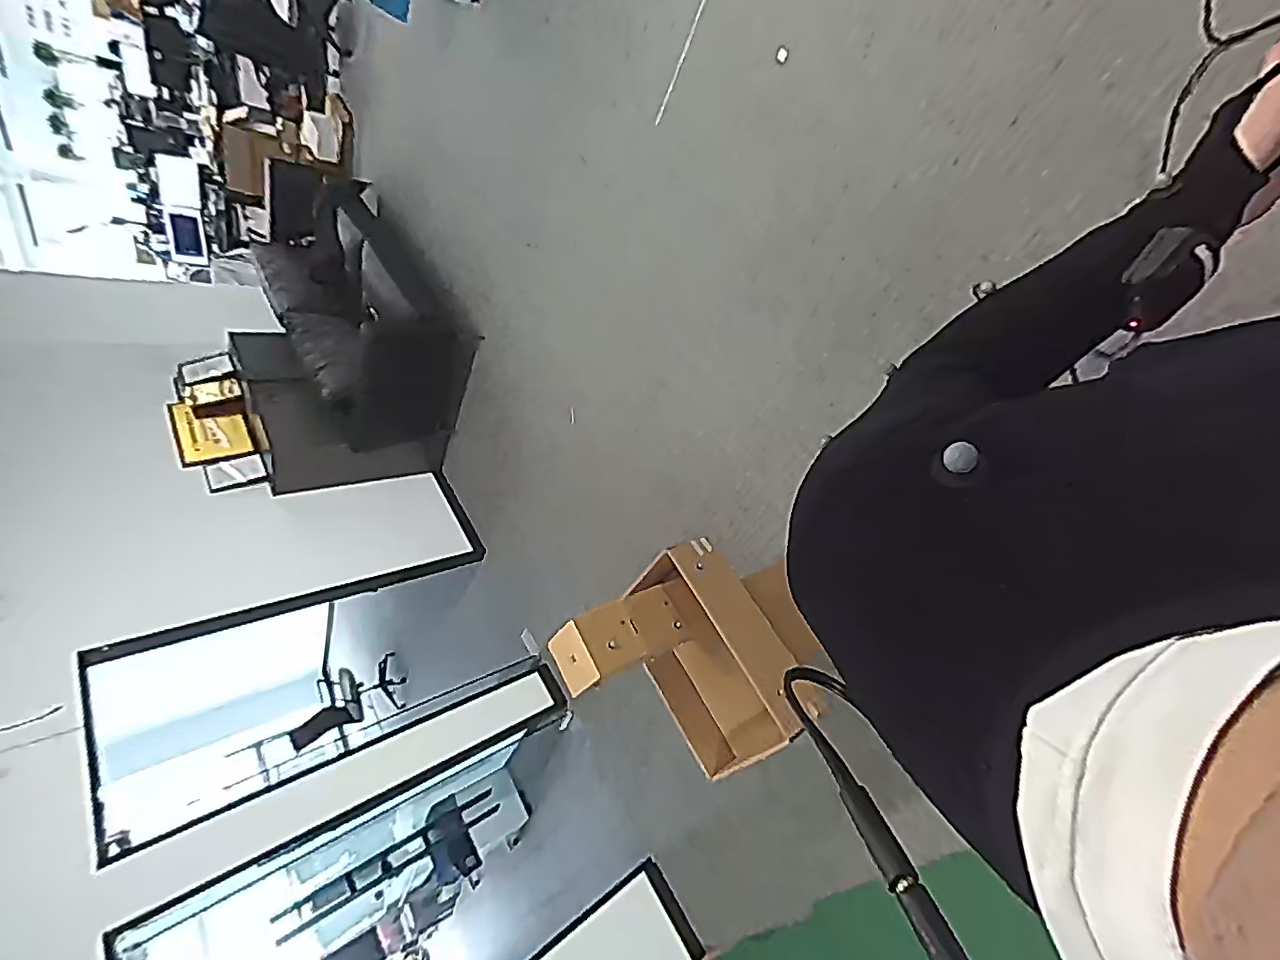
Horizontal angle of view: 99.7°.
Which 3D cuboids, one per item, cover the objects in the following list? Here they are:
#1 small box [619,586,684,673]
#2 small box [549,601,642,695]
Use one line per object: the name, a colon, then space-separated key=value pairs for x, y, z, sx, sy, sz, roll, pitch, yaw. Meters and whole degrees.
small box: x=0.005 y=0.435 z=1.593 sx=0.168 sy=0.176 sz=0.179 roll=59 pitch=136 yaw=21
small box: x=-0.116 y=0.457 z=1.486 sx=0.168 sy=0.176 sz=0.179 roll=58 pitch=135 yaw=20
